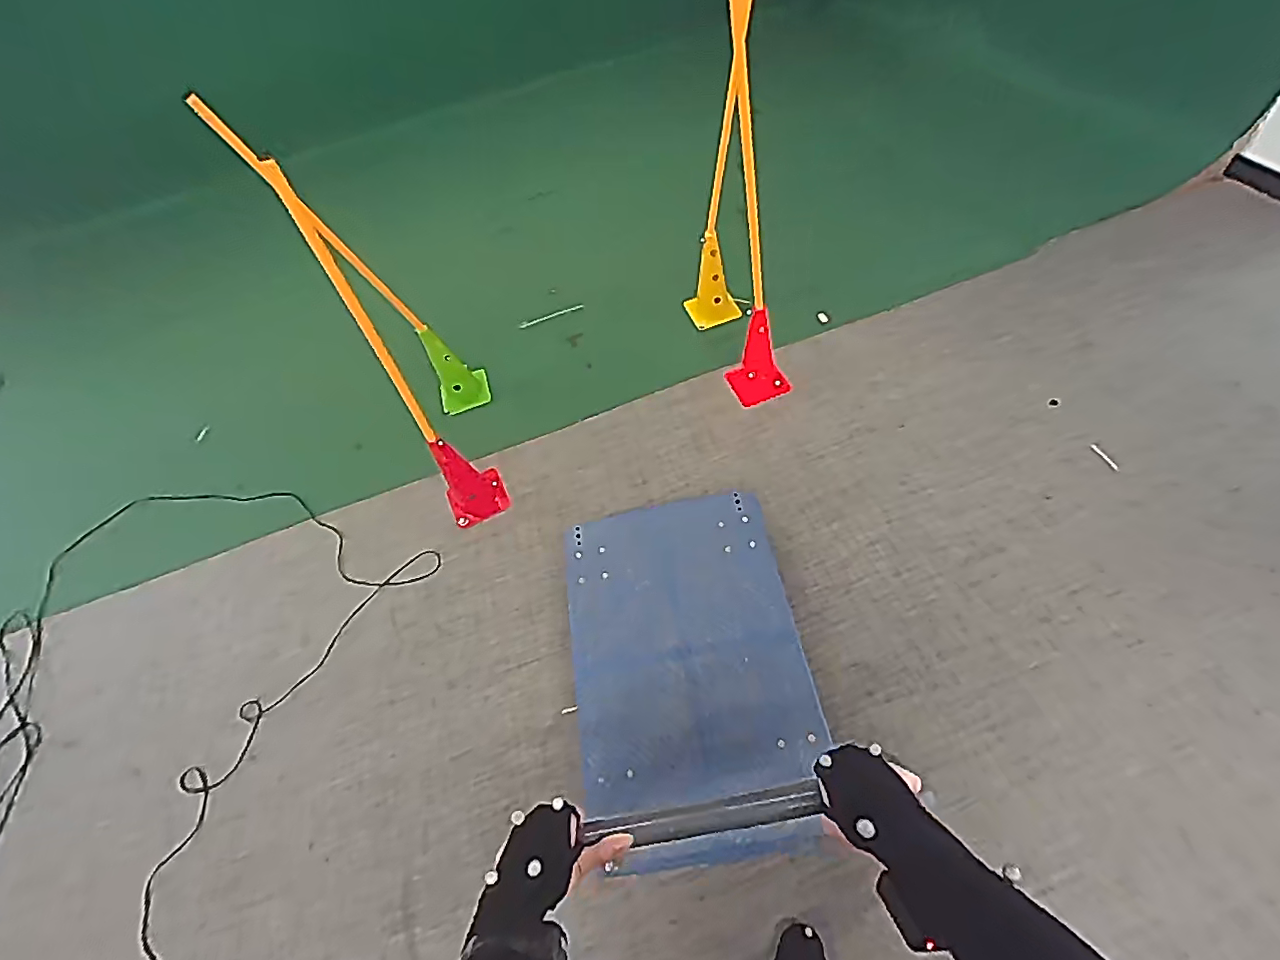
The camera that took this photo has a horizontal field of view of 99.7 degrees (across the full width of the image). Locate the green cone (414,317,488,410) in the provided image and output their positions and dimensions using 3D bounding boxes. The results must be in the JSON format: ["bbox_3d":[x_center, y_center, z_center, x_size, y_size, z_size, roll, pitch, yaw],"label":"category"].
[{"bbox_3d":[-0.761,-0.477,2.094,0.200,0.368,0.202,-21,55,-3],"label":"green cone"}]

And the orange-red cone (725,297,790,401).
[{"bbox_3d":[0.411,-0.481,1.885,0.198,0.360,0.199,-20,54,-4],"label":"orange-red cone"}]
